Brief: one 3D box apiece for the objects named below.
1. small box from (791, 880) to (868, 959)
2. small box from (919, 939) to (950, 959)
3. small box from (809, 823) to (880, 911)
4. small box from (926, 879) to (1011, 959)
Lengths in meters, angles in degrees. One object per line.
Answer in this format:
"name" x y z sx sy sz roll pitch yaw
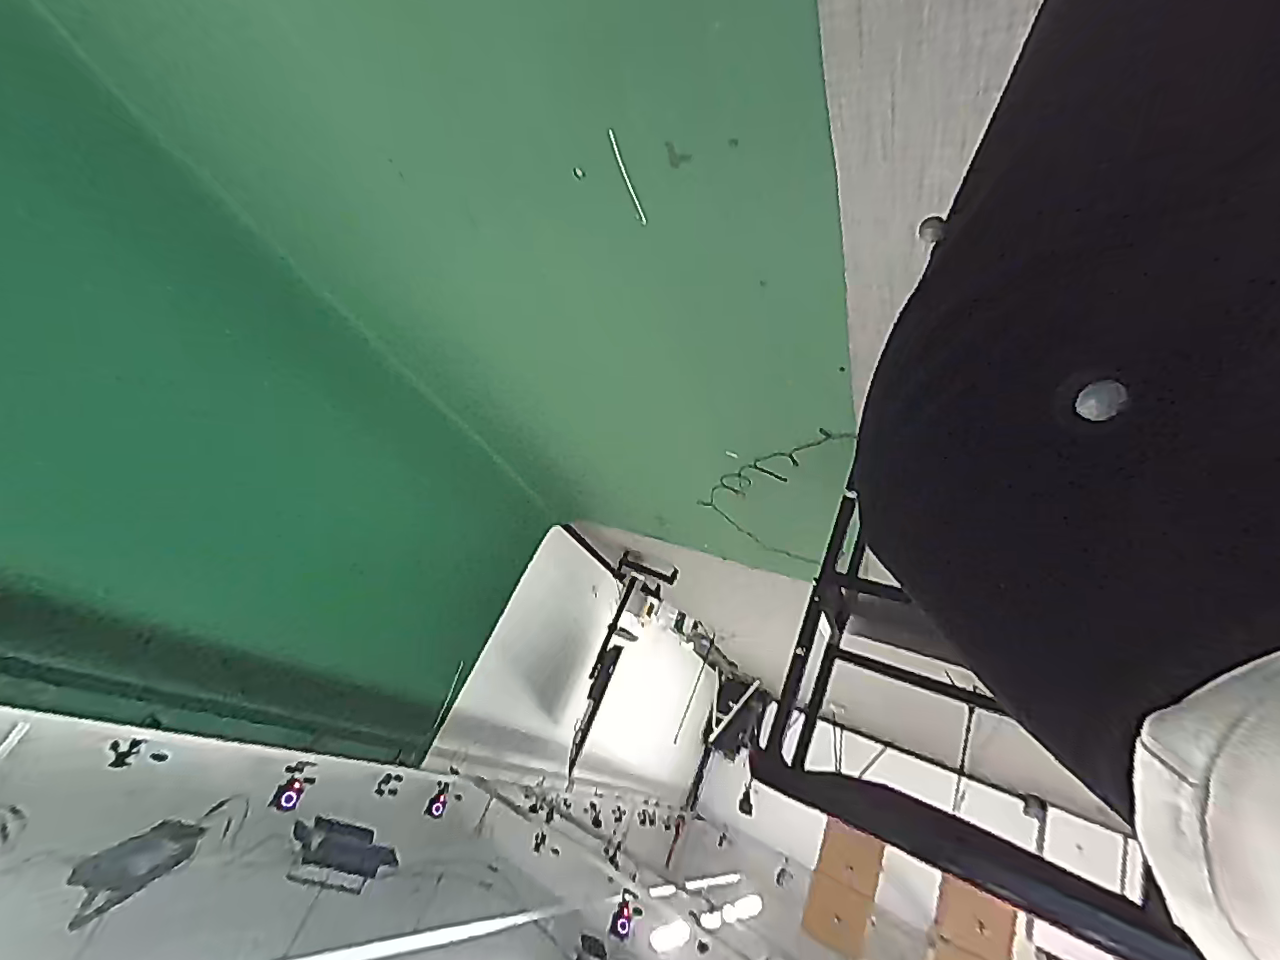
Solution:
"small box" 0.584 1.355 1.654 0.179 0.176 0.168 10 152 33
"small box" 0.868 1.423 1.490 0.179 0.176 0.168 15 155 28
"small box" 0.654 1.219 1.715 0.179 0.176 0.168 12 152 32
"small box" 0.939 1.287 1.548 0.179 0.176 0.168 13 155 29
